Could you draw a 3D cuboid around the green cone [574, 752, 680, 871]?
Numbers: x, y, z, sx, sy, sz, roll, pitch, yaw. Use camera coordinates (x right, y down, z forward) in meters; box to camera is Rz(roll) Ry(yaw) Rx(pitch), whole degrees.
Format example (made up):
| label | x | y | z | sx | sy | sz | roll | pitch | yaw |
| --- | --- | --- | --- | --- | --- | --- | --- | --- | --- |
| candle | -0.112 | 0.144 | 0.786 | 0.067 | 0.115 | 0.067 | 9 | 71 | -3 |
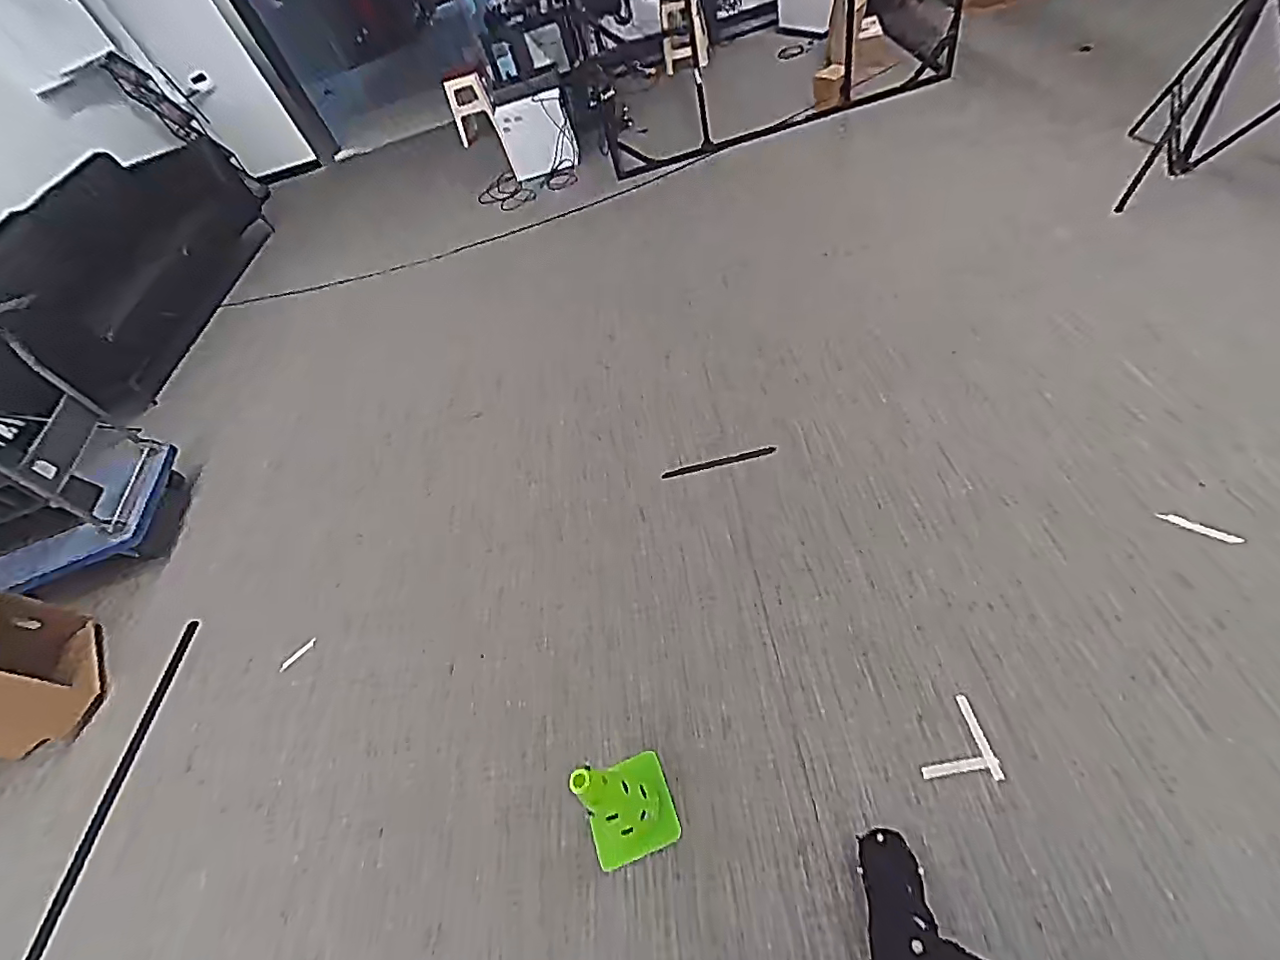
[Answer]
| label | x | y | z | sx | sy | sz | roll | pitch | yaw |
| --- | --- | --- | --- | --- | --- | --- | --- | --- | --- |
| green cone | -0.066 | 0.669 | 1.137 | 0.202 | 0.368 | 0.200 | -24 | 50 | -2 |
